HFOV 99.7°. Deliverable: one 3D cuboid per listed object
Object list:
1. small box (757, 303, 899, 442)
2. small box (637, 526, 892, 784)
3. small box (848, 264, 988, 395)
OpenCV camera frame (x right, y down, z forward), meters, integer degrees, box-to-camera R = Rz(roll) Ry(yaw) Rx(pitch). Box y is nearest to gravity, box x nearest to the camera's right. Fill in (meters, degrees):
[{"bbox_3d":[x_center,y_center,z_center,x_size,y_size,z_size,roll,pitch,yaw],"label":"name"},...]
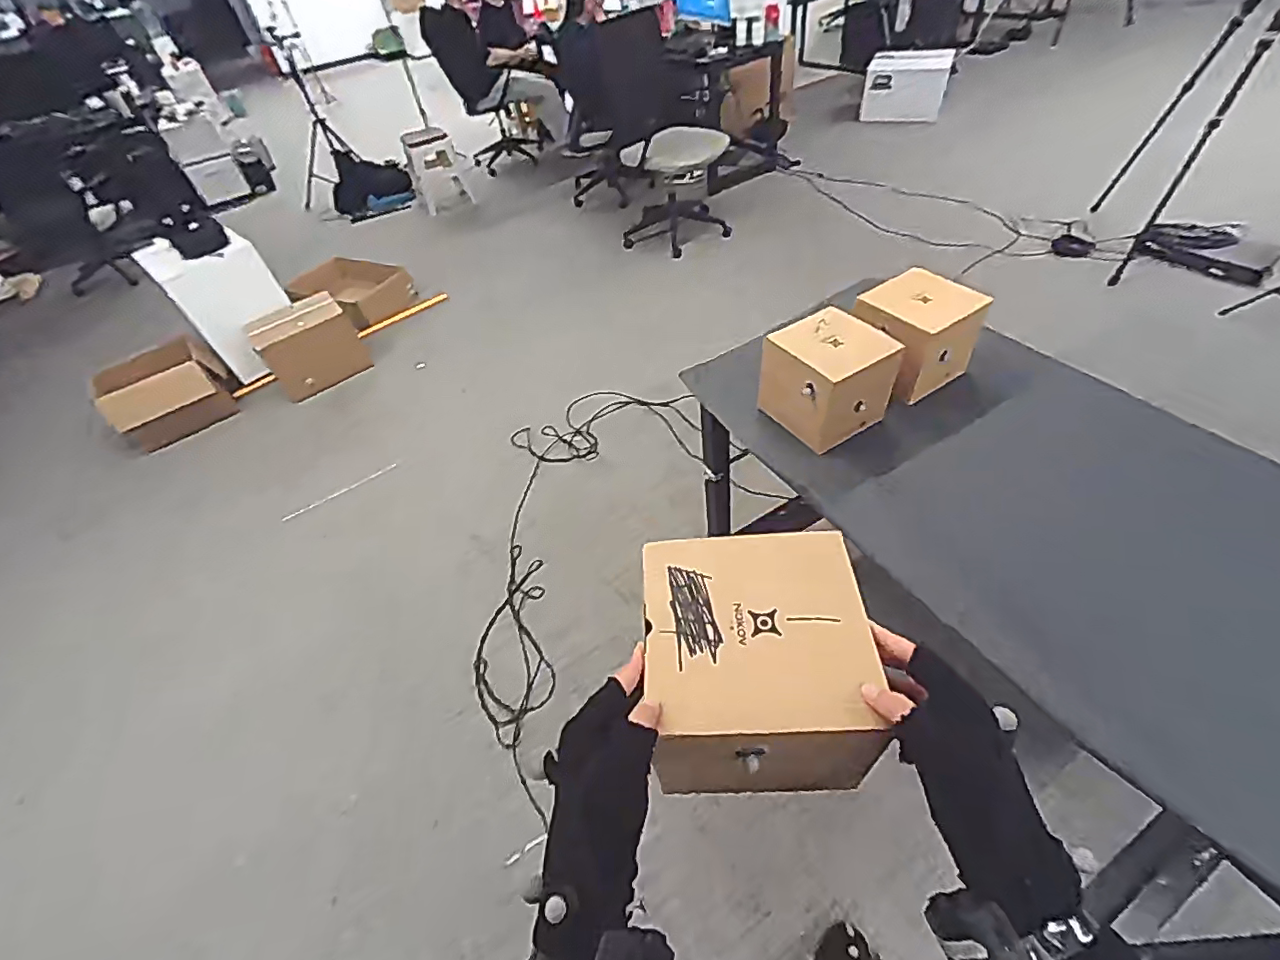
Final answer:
[{"bbox_3d":[0.336,-0.192,1.001,0.168,0.176,0.179,-28,50,-17],"label":"small box"},{"bbox_3d":[0.095,0.160,0.480,0.179,0.176,0.168,-4,48,5],"label":"small box"},{"bbox_3d":[0.527,-0.290,1.063,0.168,0.176,0.179,-30,50,-16],"label":"small box"}]
